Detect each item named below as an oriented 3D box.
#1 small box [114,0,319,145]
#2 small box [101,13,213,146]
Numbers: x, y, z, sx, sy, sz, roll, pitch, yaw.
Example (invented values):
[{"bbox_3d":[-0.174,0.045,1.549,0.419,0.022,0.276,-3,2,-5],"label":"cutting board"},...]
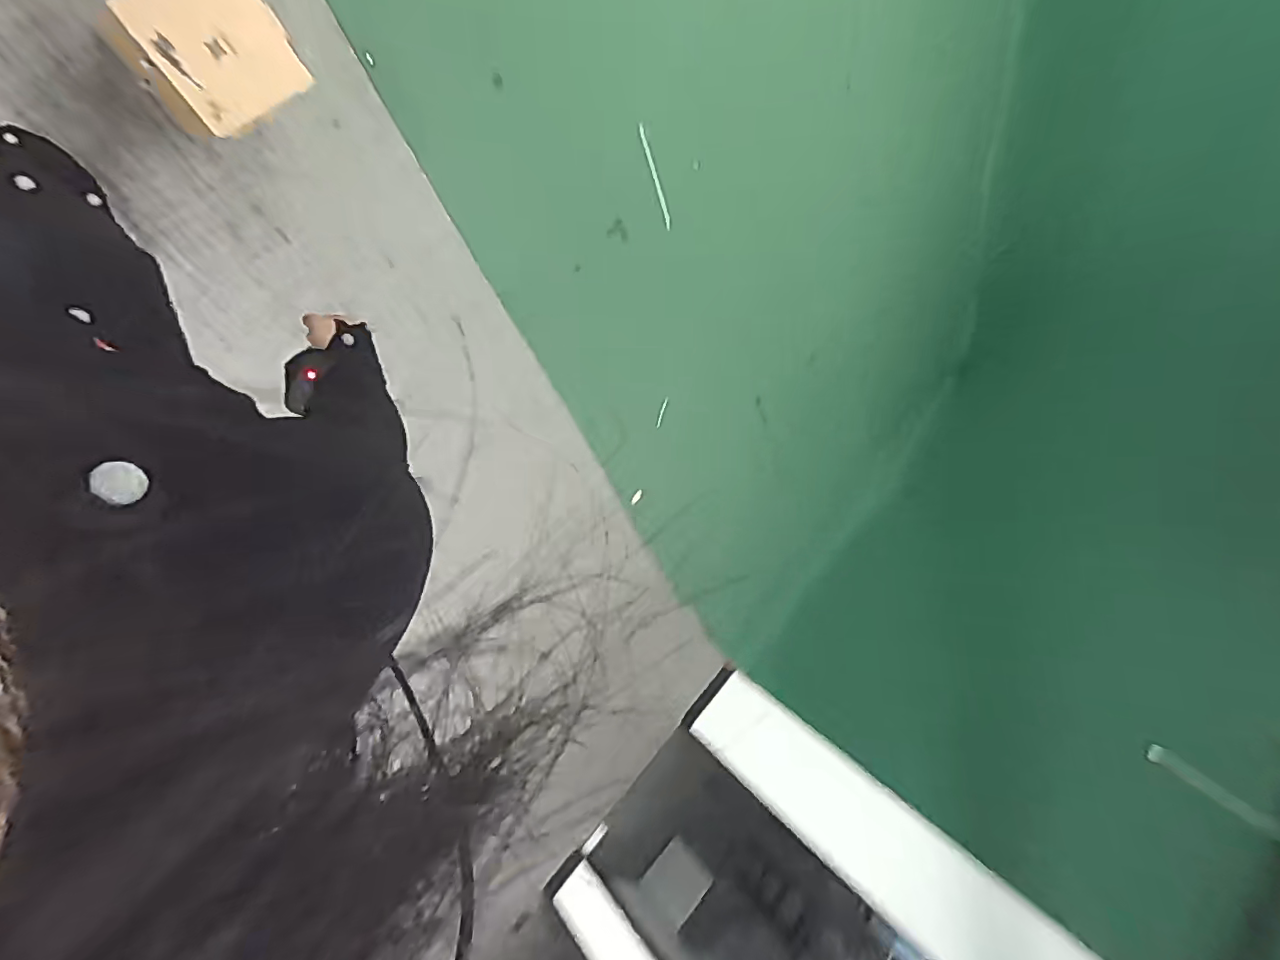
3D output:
[{"bbox_3d":[-0.640,-0.636,0.817,0.179,0.176,0.168,-44,139,-18],"label":"small box"},{"bbox_3d":[-0.752,-0.700,0.920,0.168,0.176,0.179,-45,137,-16],"label":"small box"}]
